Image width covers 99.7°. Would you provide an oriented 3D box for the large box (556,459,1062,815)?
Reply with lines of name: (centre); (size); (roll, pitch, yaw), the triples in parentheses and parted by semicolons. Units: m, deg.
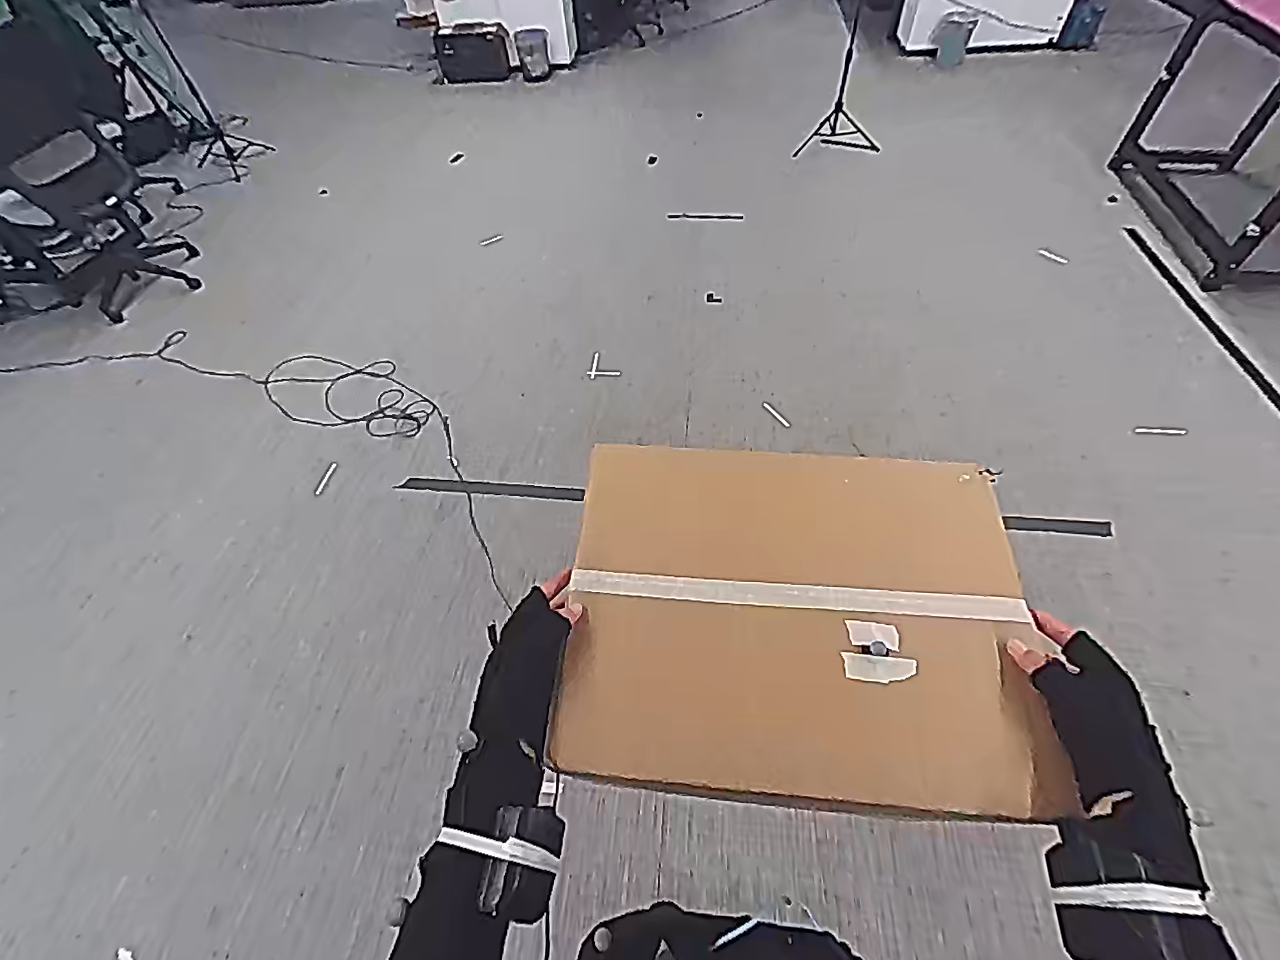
large box: (0.143, 0.193, 0.629); (0.408, 0.320, 0.320); (3, 59, 5)
